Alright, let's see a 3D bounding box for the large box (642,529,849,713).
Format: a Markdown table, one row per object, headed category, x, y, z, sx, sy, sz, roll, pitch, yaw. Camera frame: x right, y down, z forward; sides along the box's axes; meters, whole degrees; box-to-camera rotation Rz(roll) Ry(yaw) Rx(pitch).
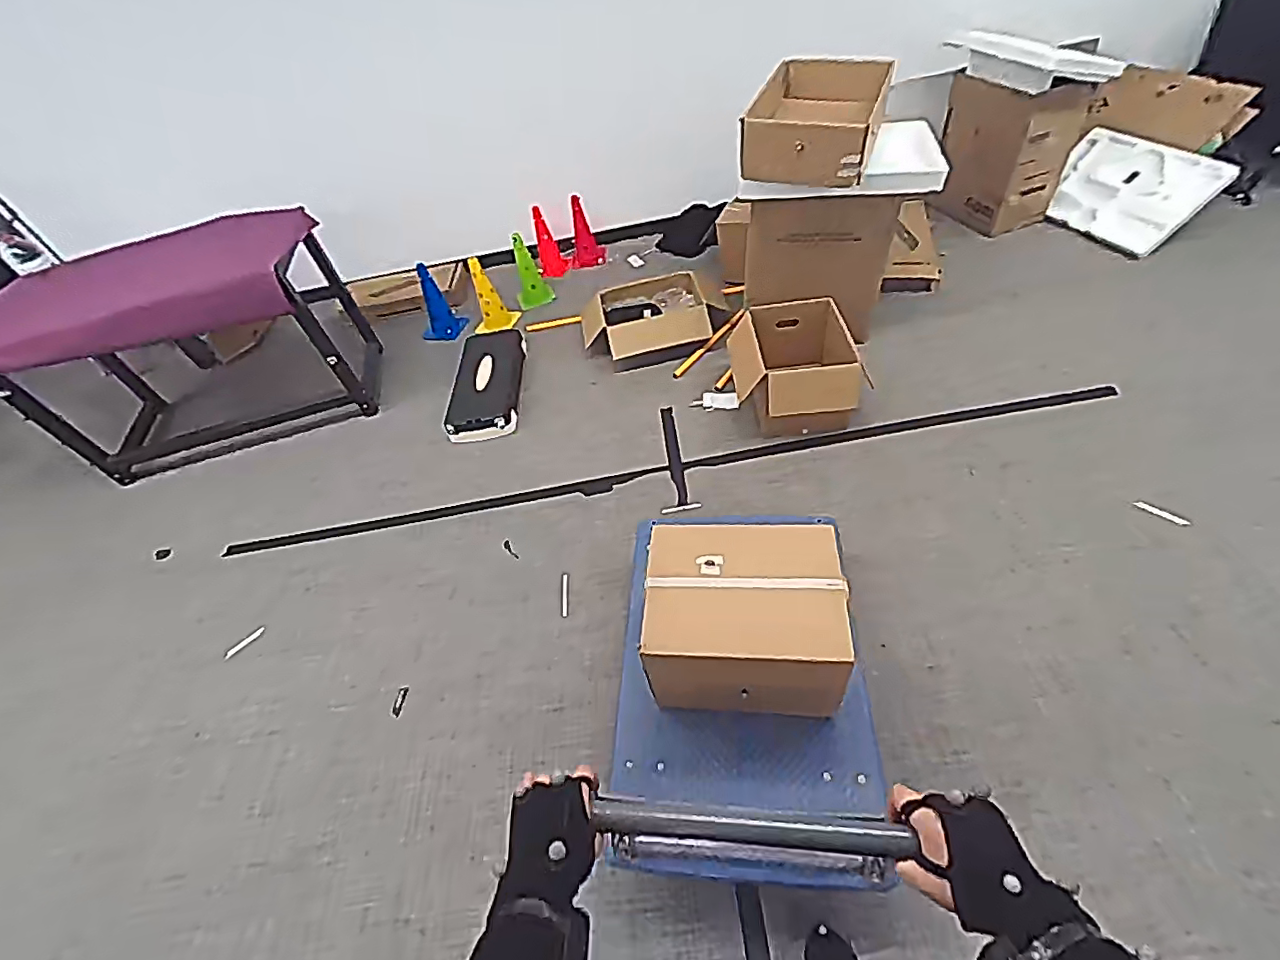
| category | x | y | z | sx | sy | sz | roll | pitch | yaw |
| --- | --- | --- | --- | --- | --- | --- | --- | --- | --- |
| large box | 0.236 | 0.331 | 1.253 | 0.408 | 0.320 | 0.320 | -2 | 48 | 11 |
